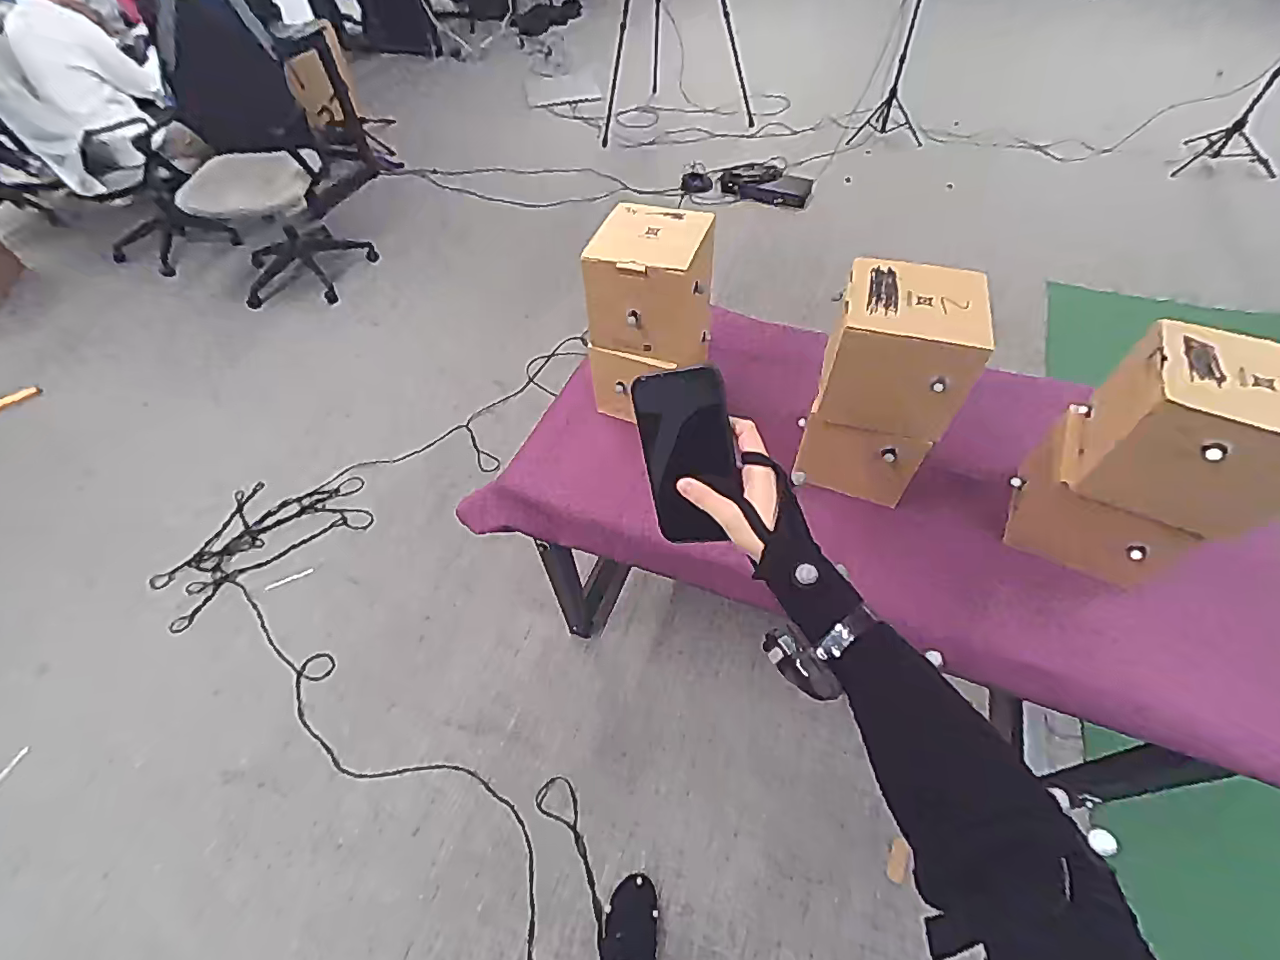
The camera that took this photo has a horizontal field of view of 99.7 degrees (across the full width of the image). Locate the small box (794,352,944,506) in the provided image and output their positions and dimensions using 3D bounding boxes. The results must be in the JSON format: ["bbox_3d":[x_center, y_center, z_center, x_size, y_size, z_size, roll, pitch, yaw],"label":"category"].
[{"bbox_3d":[0.372,-0.079,0.897,0.179,0.176,0.168,18,55,17],"label":"small box"}]

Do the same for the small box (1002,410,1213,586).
[{"bbox_3d":[0.677,0.032,0.795,0.179,0.176,0.168,23,56,20],"label":"small box"}]

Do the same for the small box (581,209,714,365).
[{"bbox_3d":[0.019,-0.315,0.894,0.168,0.176,0.179,14,55,13],"label":"small box"}]

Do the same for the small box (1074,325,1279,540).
[{"bbox_3d":[0.672,-0.054,0.655,0.179,0.176,0.168,23,57,19],"label":"small box"}]

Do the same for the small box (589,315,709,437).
[{"bbox_3d":[0.024,-0.208,1.019,0.168,0.176,0.179,18,55,17],"label":"small box"}]
